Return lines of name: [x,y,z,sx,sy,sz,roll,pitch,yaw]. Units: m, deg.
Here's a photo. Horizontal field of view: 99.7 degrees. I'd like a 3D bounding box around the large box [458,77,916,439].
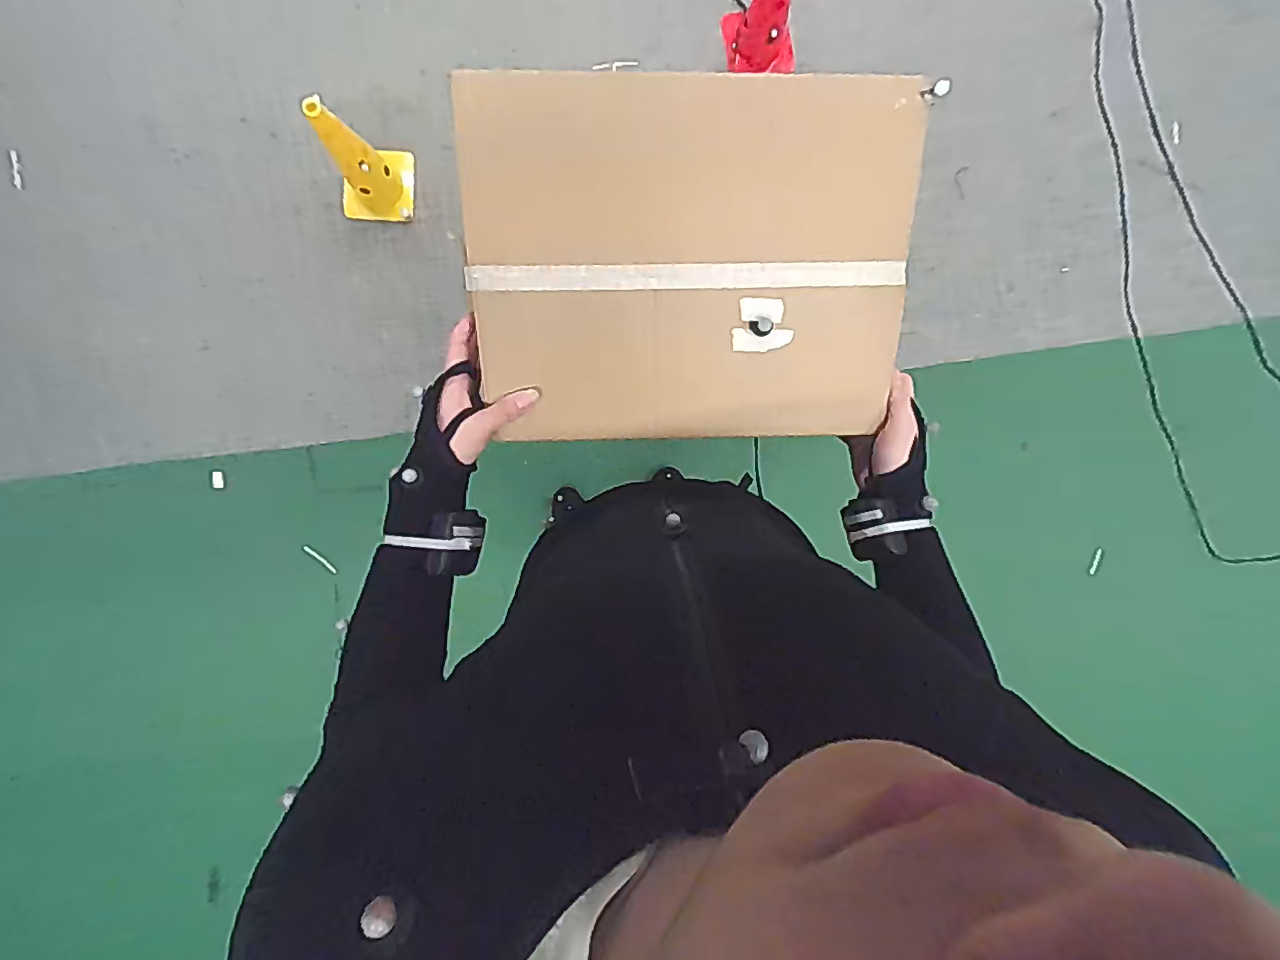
large box: [0.037,-0.243,0.649,0.408,0.320,0.320,-2,110,-3]
